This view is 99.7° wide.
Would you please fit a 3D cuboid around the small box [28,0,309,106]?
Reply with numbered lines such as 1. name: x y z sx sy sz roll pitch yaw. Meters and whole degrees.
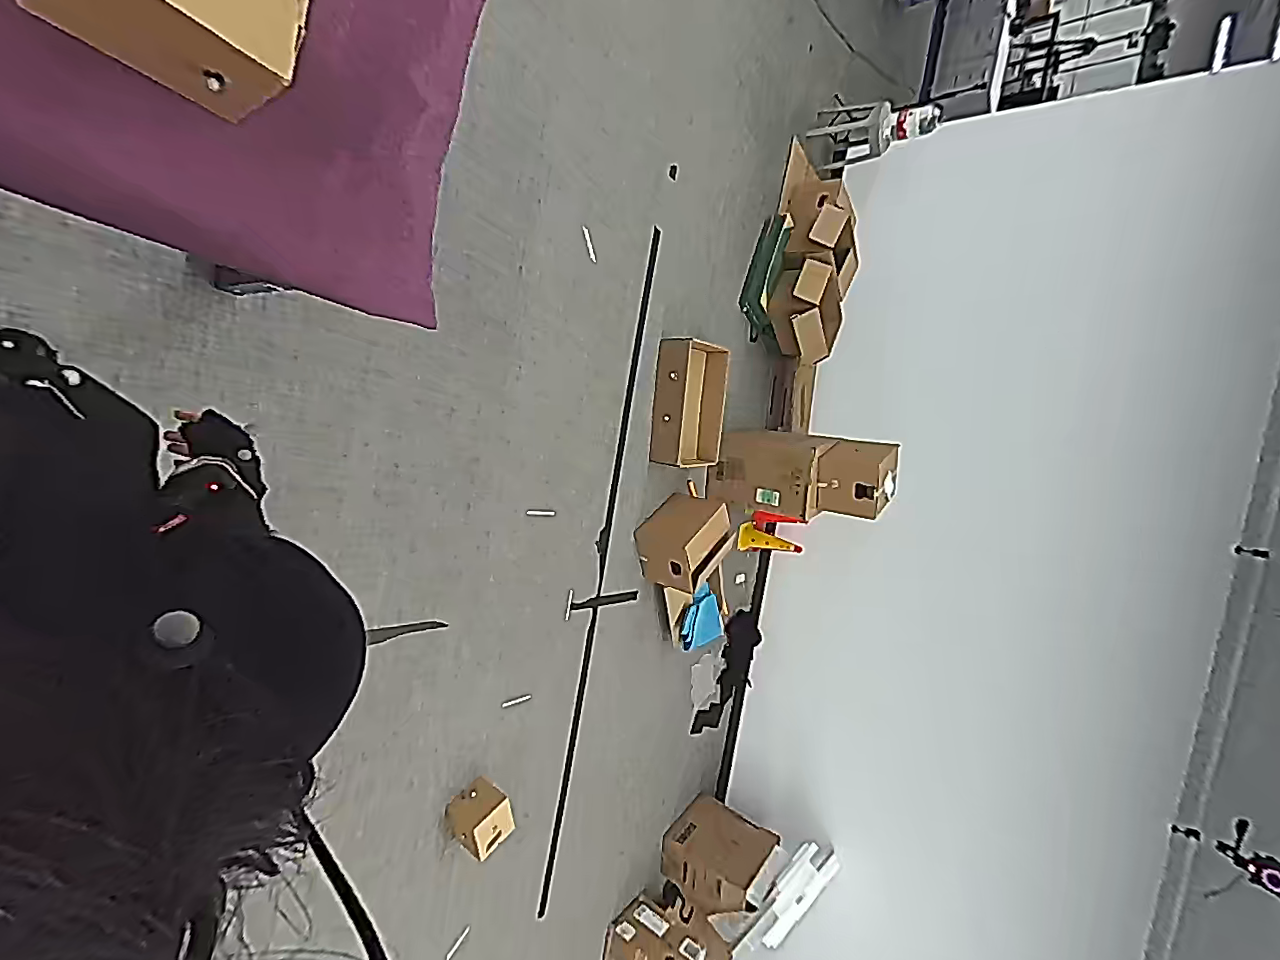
1. small box: -0.445 -0.500 0.518 0.179 0.176 0.168 12 88 -53

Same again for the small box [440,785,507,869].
1. small box: -0.635 1.313 2.058 0.168 0.176 0.179 -28 120 -48
